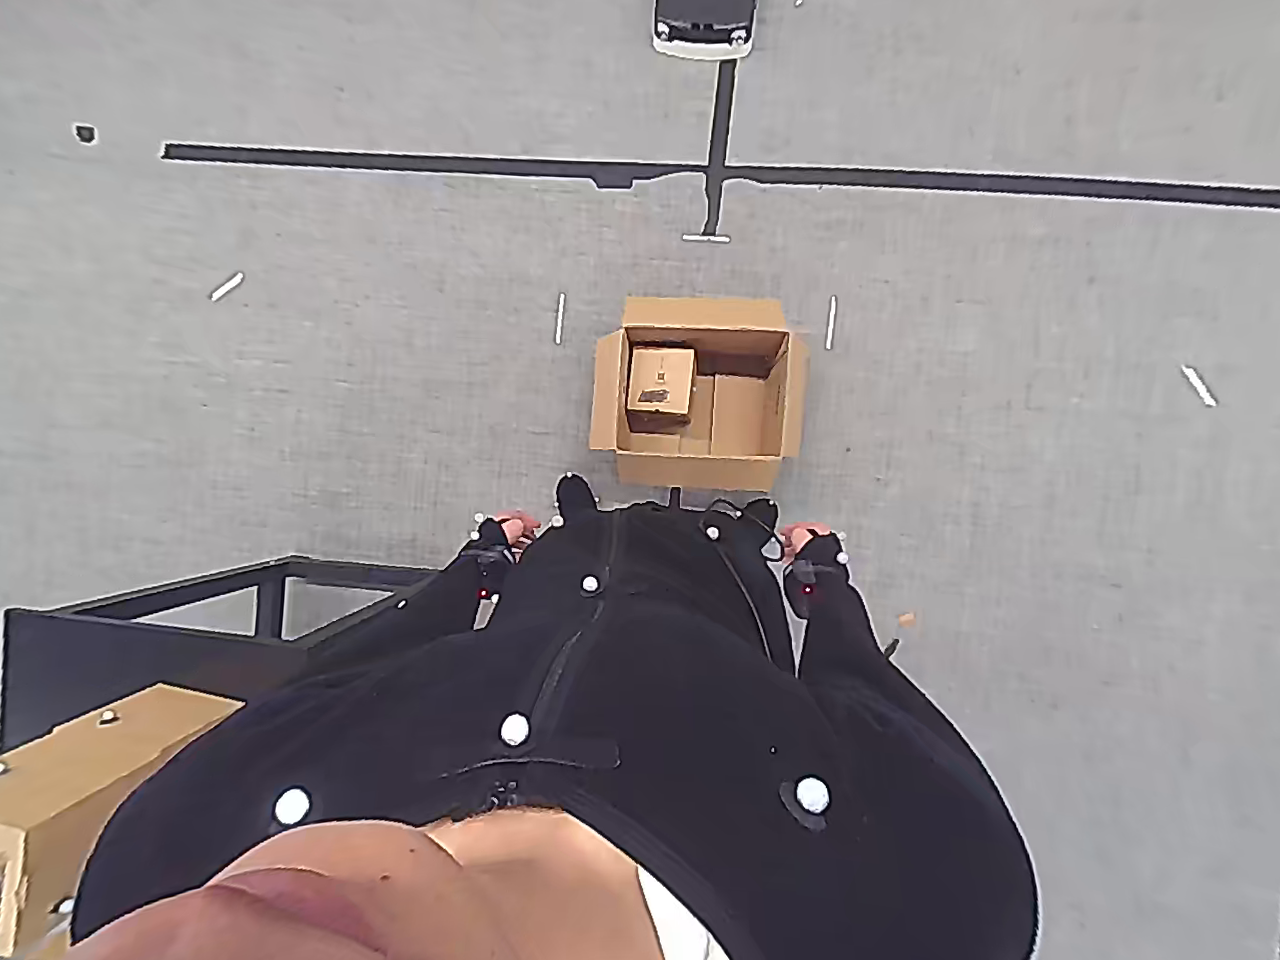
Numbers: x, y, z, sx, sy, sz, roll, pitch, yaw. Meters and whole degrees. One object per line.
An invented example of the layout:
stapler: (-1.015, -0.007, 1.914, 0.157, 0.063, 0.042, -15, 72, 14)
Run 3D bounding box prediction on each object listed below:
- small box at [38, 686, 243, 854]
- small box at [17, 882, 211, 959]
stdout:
small box: (-0.810, 0.462, 0.891, 0.179, 0.176, 0.168, 10, 94, 5)
small box: (-0.882, 0.826, 0.913, 0.179, 0.176, 0.168, 5, 92, 4)
